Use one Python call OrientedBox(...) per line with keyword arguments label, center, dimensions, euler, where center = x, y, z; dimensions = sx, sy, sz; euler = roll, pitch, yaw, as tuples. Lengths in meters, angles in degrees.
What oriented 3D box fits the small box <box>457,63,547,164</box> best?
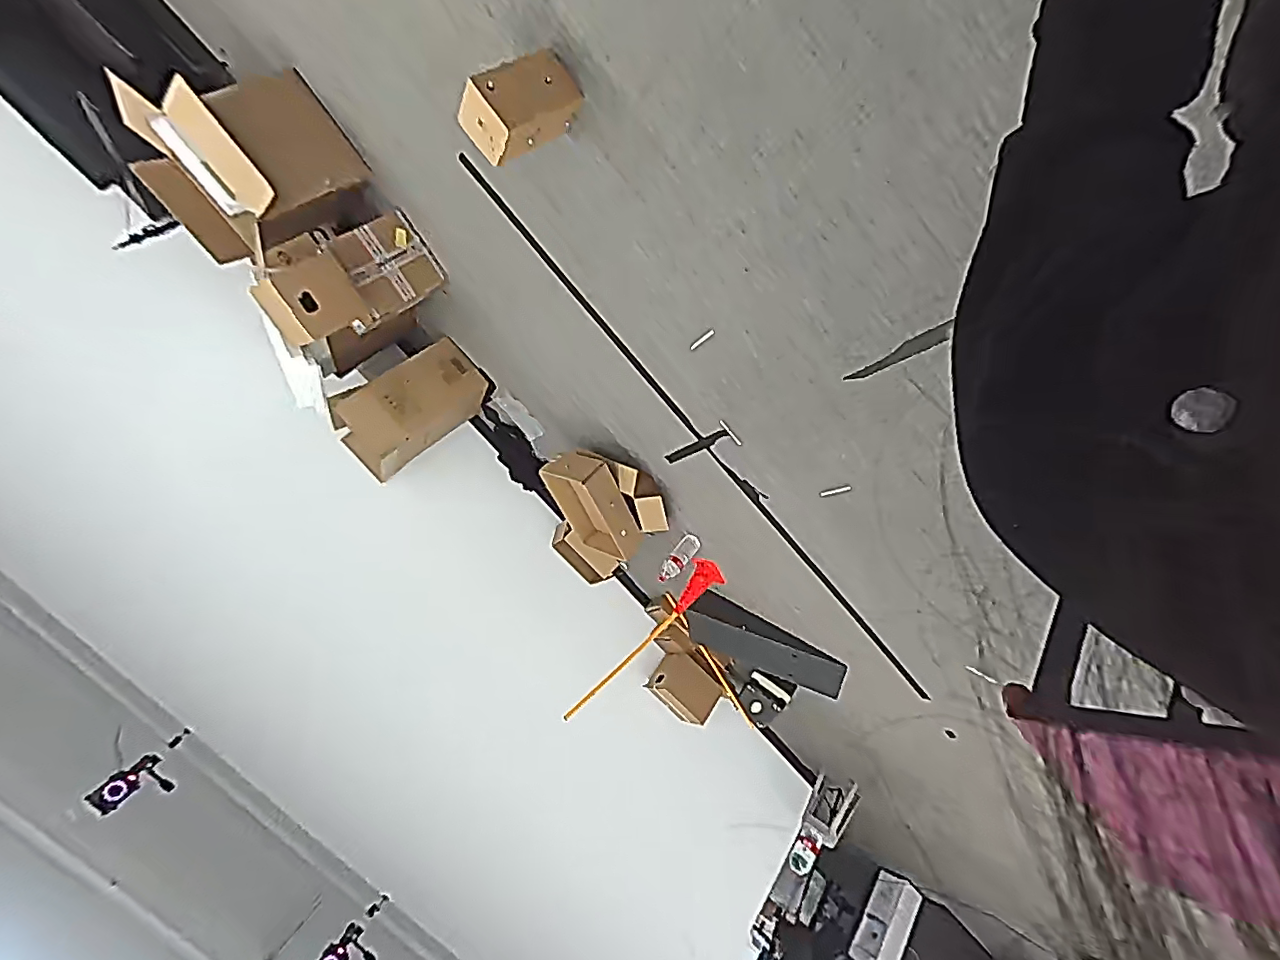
OrientedBox(label="small box", center=(-0.415, -1.108, 1.627), dimensions=(0.179, 0.176, 0.168), euler=(50, 152, -13))
